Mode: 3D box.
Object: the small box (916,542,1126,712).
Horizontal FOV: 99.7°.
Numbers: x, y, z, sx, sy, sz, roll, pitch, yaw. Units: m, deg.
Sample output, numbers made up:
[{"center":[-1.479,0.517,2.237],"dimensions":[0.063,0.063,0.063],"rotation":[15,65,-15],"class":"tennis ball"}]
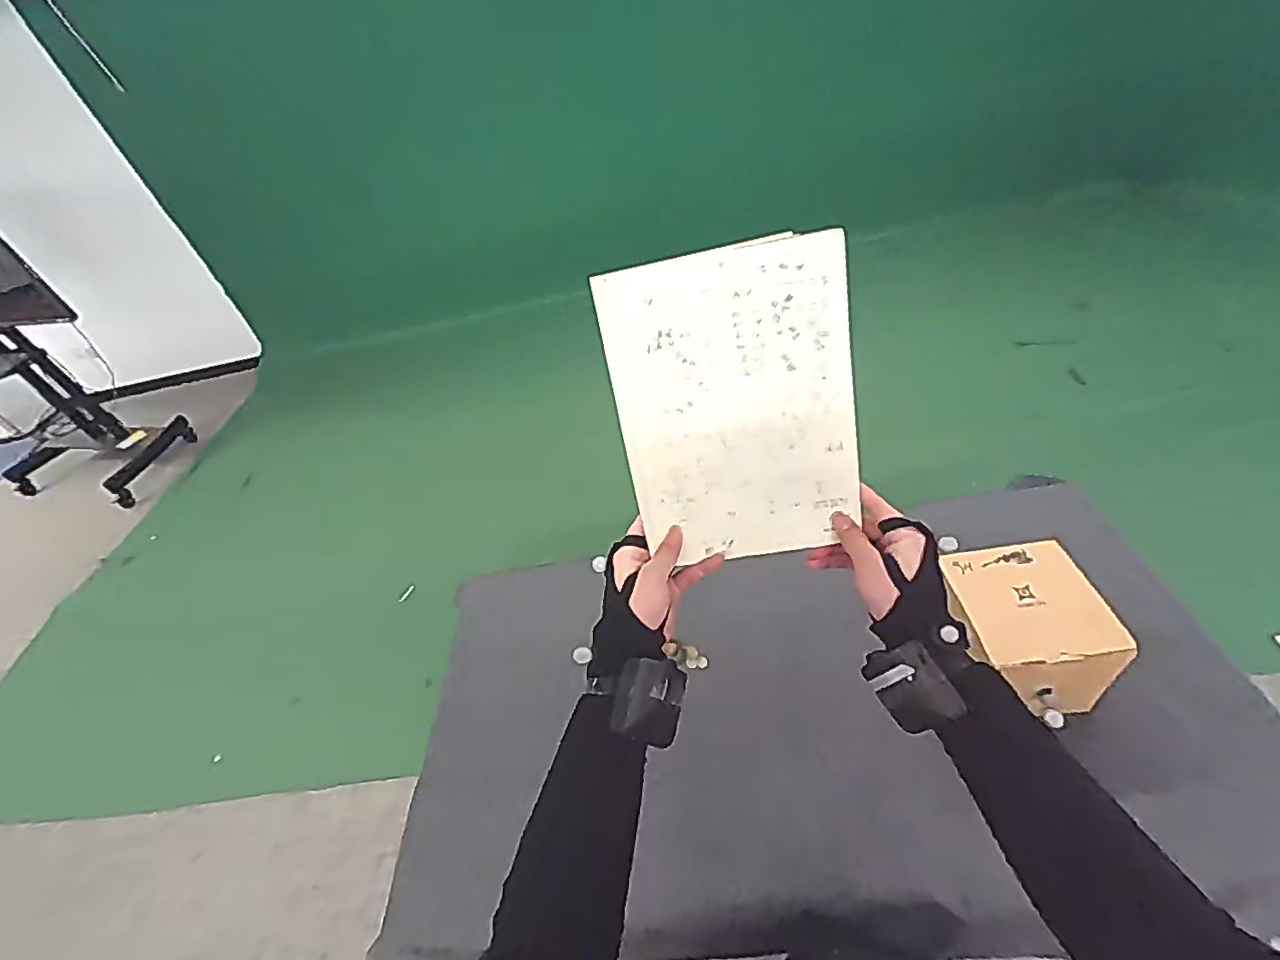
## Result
[{"center":[0.520,0.216,0.773],"dimensions":[0.168,0.176,0.179],"rotation":[-9,44,6],"class":"small box"}]
